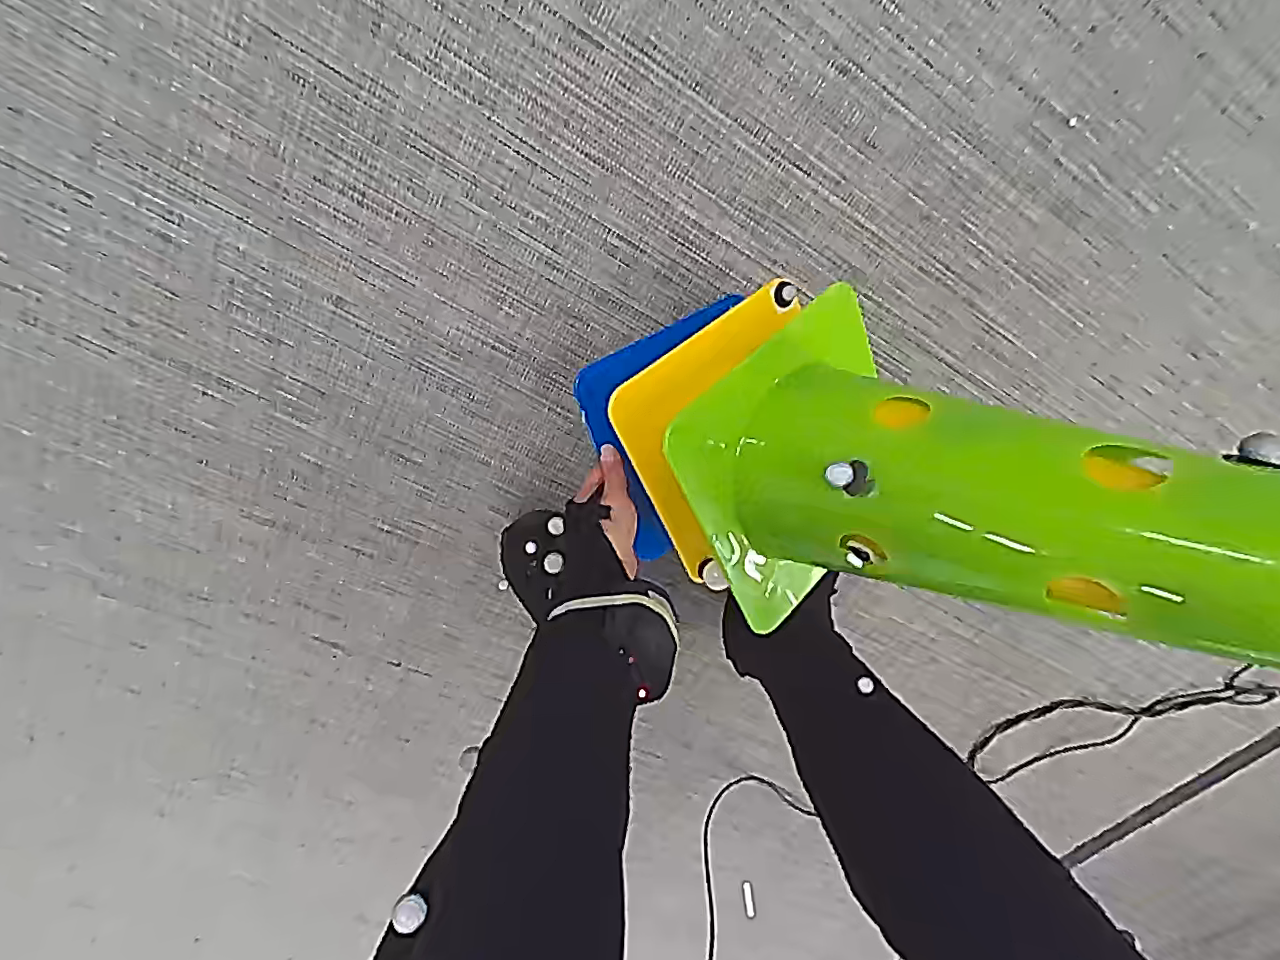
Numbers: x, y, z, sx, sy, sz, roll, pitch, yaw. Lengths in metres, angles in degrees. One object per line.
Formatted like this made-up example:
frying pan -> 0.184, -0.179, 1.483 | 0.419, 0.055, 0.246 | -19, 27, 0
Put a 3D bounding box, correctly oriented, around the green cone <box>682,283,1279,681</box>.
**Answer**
green cone -> 0.224, 0.024, 0.255 | 0.202, 0.368, 0.200 | -41, 121, -19
